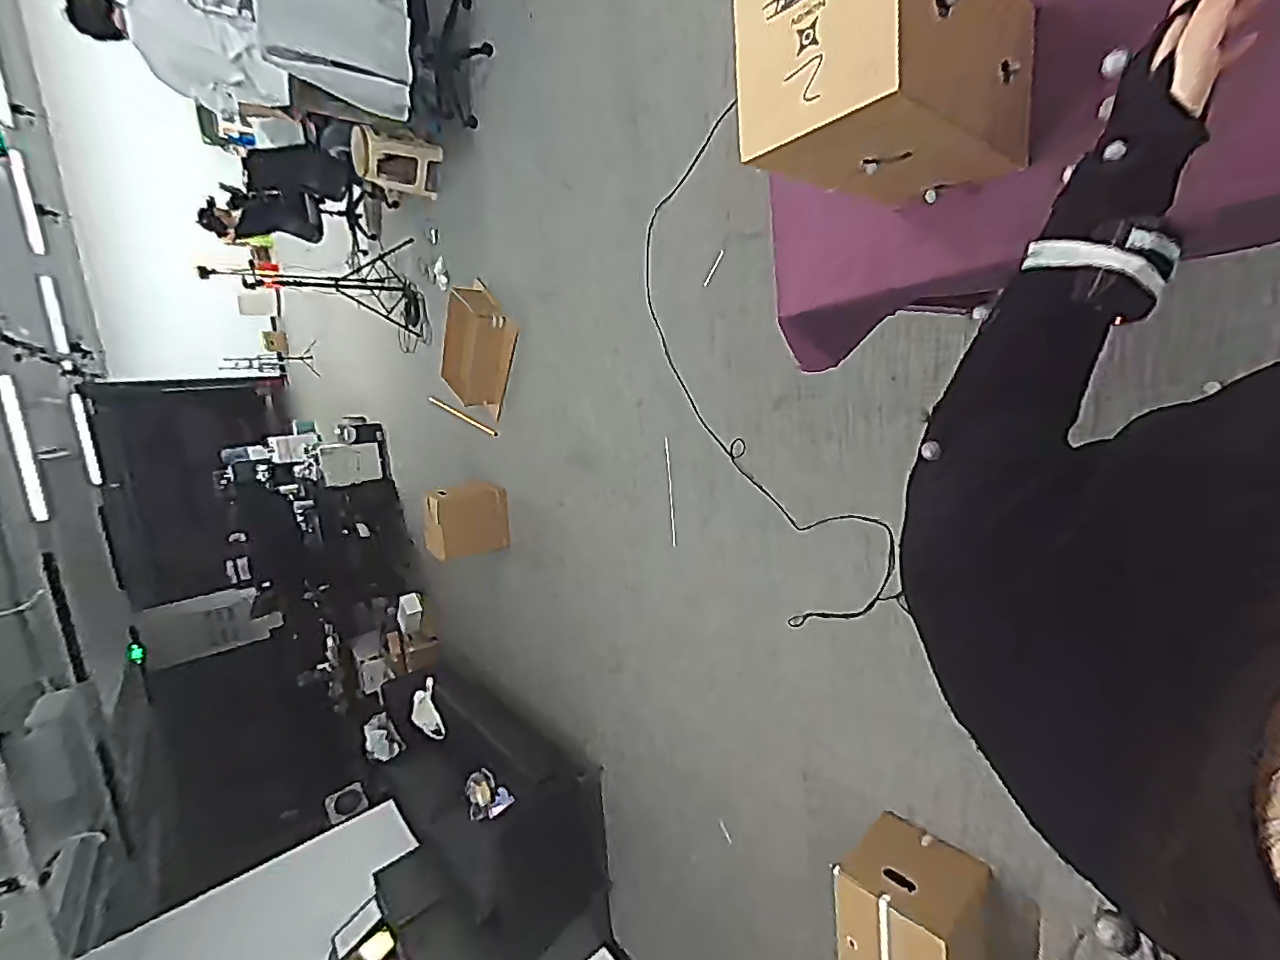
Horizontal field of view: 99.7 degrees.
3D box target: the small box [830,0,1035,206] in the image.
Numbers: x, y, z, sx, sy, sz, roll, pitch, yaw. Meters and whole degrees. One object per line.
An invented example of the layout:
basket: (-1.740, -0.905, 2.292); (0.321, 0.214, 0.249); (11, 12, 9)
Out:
small box: (0.344, -0.447, 0.639); (0.168, 0.176, 0.179); (9, 108, 49)
